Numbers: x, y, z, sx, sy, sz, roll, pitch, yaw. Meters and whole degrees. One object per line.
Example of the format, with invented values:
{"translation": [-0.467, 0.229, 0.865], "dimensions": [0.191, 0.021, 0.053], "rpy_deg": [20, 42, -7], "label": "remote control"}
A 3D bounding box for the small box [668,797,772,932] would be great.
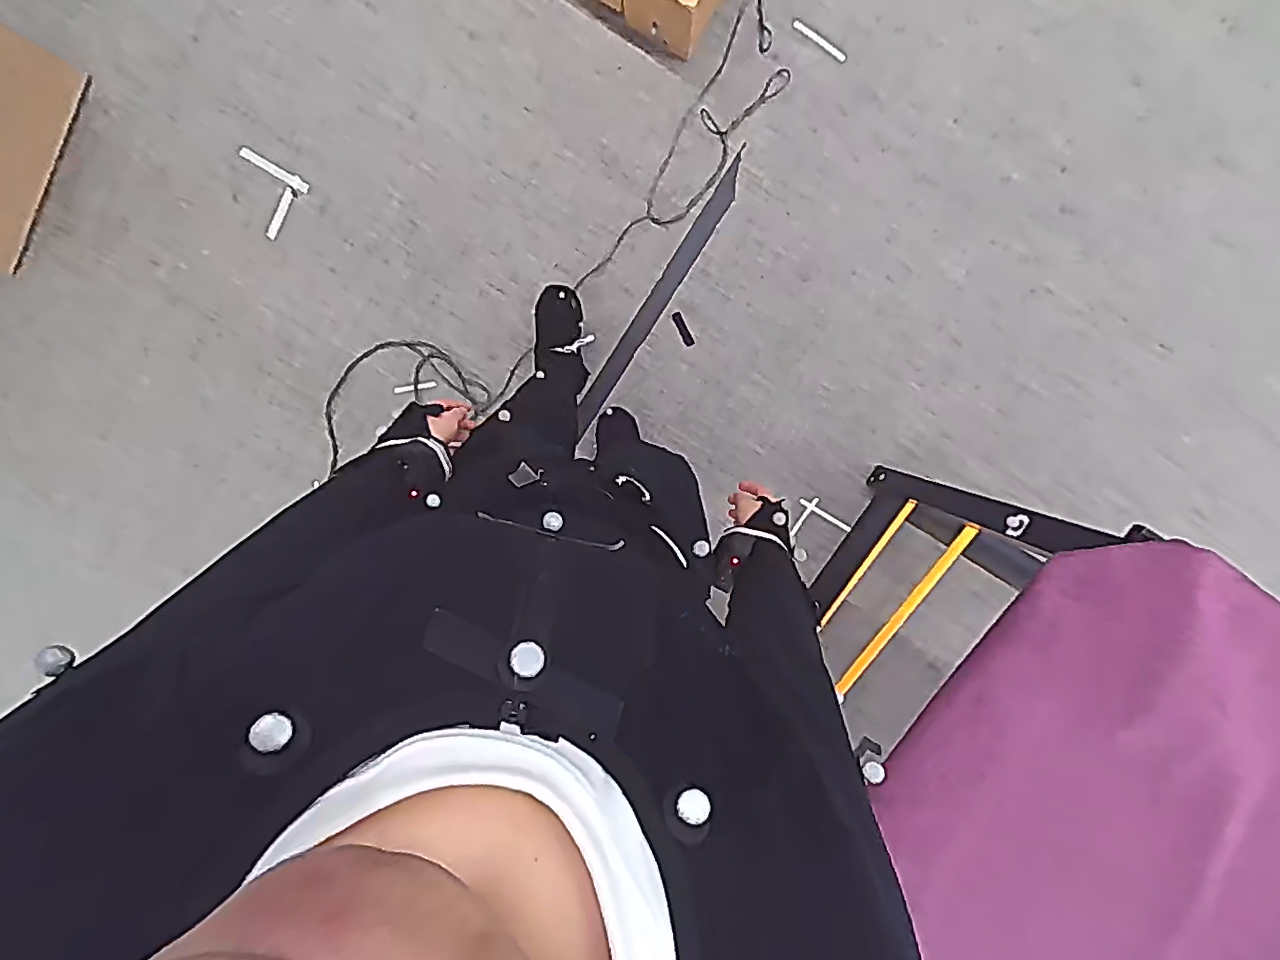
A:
{"translation": [0.179, 0.900, 1.285], "dimensions": [0.179, 0.176, 0.168], "rpy_deg": [33, 97, -5], "label": "small box"}
